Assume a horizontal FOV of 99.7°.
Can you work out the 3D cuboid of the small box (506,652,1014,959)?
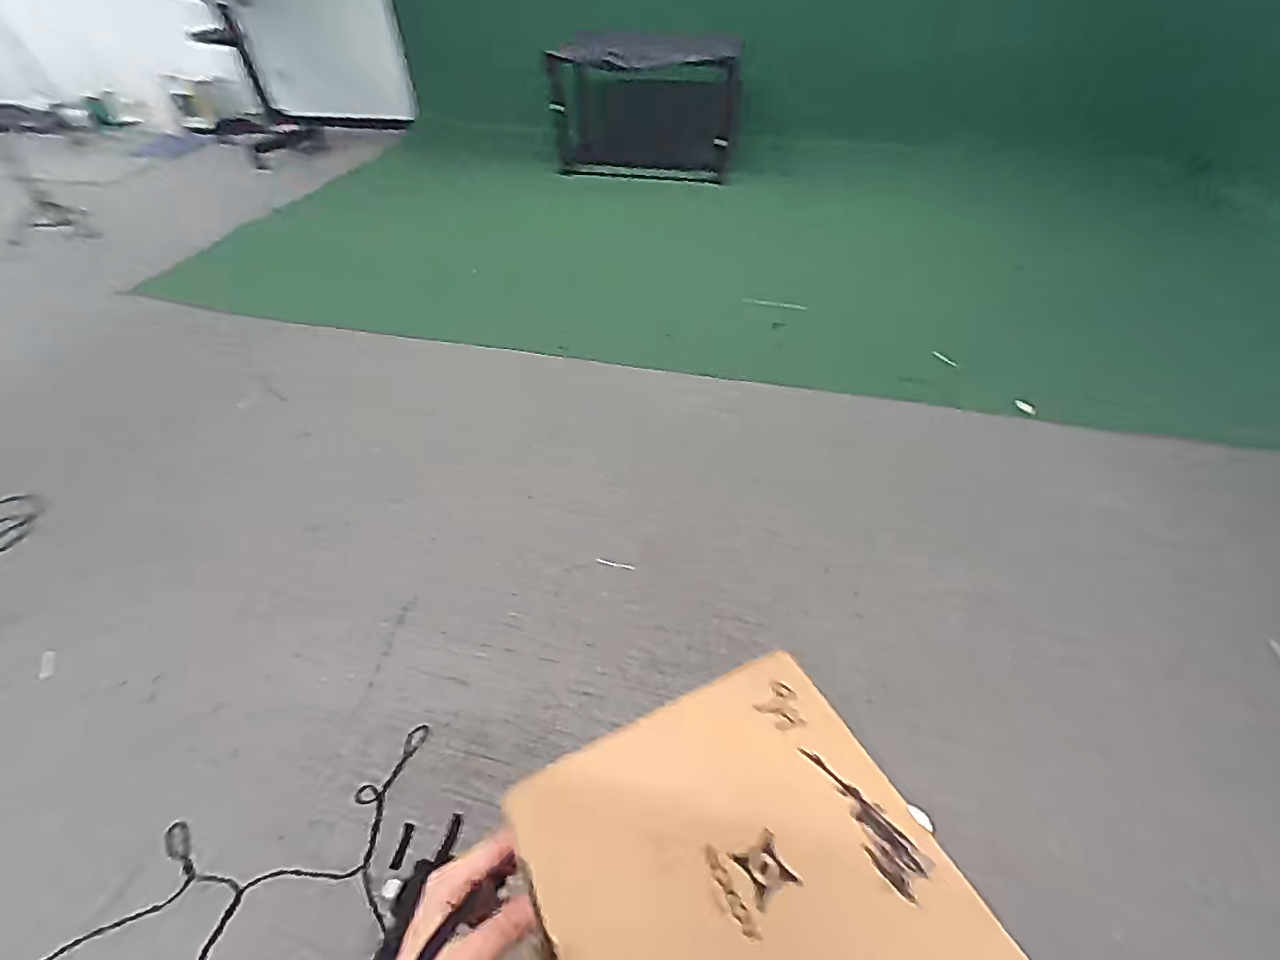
[{"bbox_3d":[0.044,0.237,0.300,0.179,0.176,0.168,-18,46,-21],"label":"small box"}]
